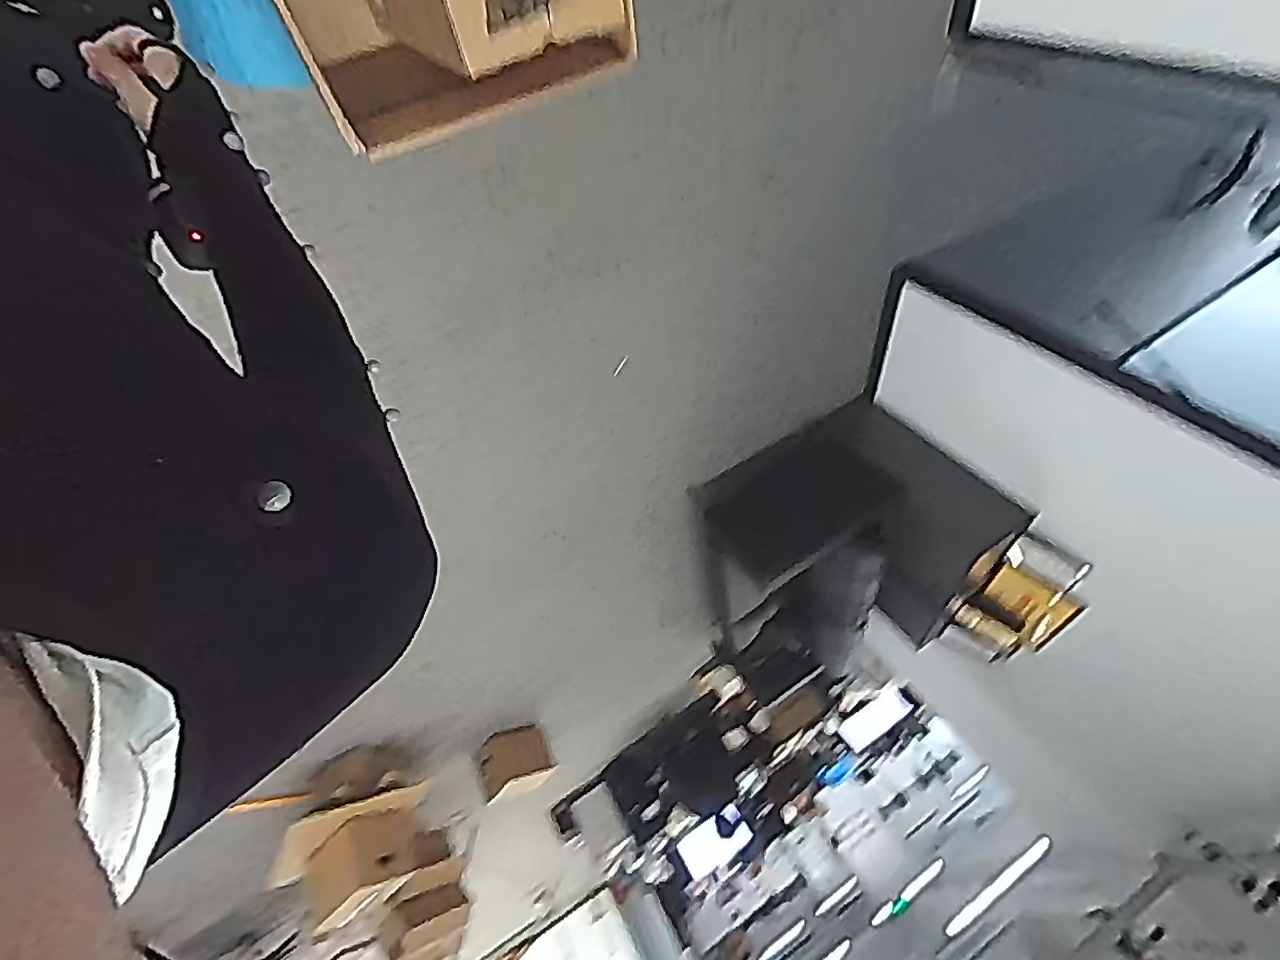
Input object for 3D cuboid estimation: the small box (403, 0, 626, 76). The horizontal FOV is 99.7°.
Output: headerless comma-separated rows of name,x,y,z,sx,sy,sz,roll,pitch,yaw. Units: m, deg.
small box,-0.134,-0.498,0.478,0.168,0.176,0.179,-30,142,-14
